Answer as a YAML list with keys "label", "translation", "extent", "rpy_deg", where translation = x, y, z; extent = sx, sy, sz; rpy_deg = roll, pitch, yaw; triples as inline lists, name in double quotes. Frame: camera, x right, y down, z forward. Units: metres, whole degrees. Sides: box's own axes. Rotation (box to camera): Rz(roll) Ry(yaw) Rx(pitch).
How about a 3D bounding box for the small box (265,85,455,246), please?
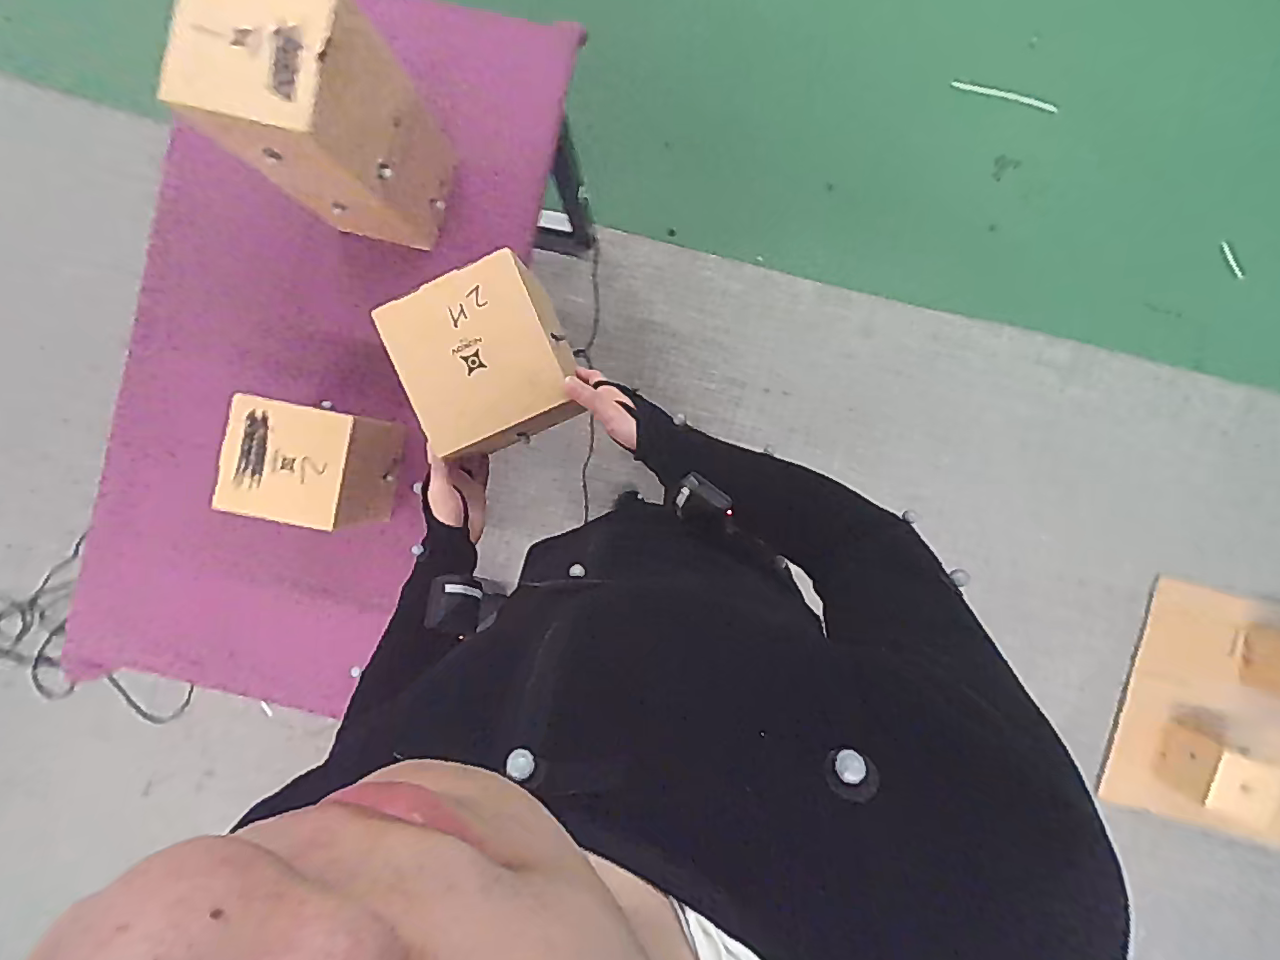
- label: "small box"
  translation: [-0.410, -0.479, 0.817]
  extent: [0.179, 0.176, 0.168]
  rpy_deg: [15, 93, 2]

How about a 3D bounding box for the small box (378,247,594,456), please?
- label: "small box"
  translation: [-0.166, -0.140, 0.648]
  extent: [0.168, 0.176, 0.179]
  rpy_deg: [-22, 92, 5]

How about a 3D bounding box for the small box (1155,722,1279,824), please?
- label: "small box"
  translation: [1.598, 0.798, 1.493]
  extent: [0.179, 0.176, 0.168]
  rpy_deg: [18, 91, 0]

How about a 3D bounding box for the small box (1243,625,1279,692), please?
- label: "small box"
  translation: [1.841, 0.508, 1.481]
  extent: [0.179, 0.176, 0.168]
  rpy_deg: [7, 92, 1]

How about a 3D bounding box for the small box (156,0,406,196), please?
- label: "small box"
  translation: [-0.414, -0.473, 0.654]
  extent: [0.179, 0.176, 0.168]
  rpy_deg: [14, 93, 4]
